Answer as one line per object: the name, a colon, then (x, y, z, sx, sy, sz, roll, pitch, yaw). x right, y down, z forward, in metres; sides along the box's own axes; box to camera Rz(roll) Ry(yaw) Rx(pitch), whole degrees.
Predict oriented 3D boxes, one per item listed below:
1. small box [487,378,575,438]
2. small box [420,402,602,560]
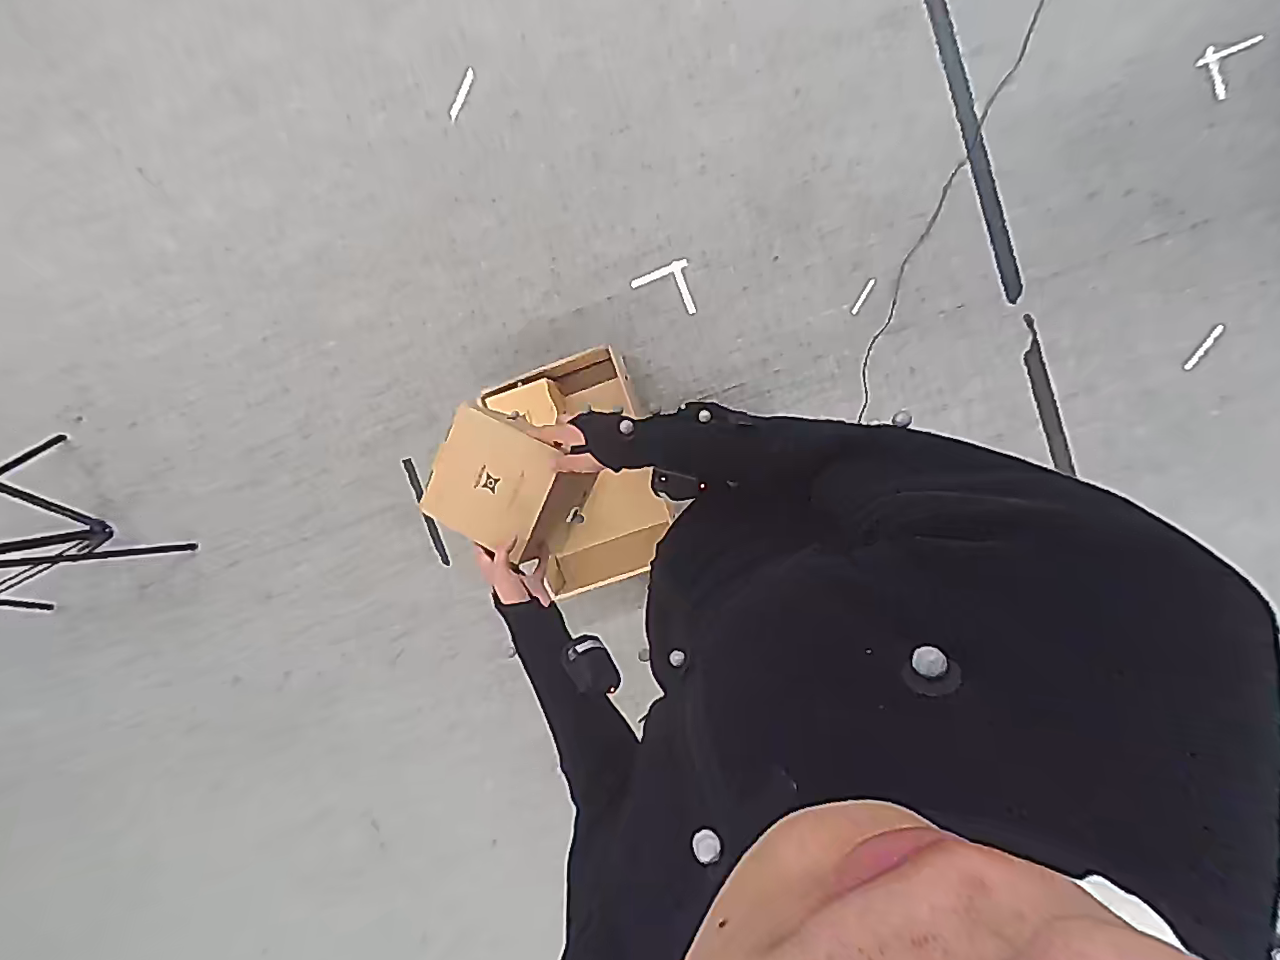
small box: (-0.301, -0.177, 1.527, 0.179, 0.176, 0.168, -19, 94, 4)
small box: (-0.183, 0.001, 0.810, 0.179, 0.176, 0.168, 25, 96, 13)
